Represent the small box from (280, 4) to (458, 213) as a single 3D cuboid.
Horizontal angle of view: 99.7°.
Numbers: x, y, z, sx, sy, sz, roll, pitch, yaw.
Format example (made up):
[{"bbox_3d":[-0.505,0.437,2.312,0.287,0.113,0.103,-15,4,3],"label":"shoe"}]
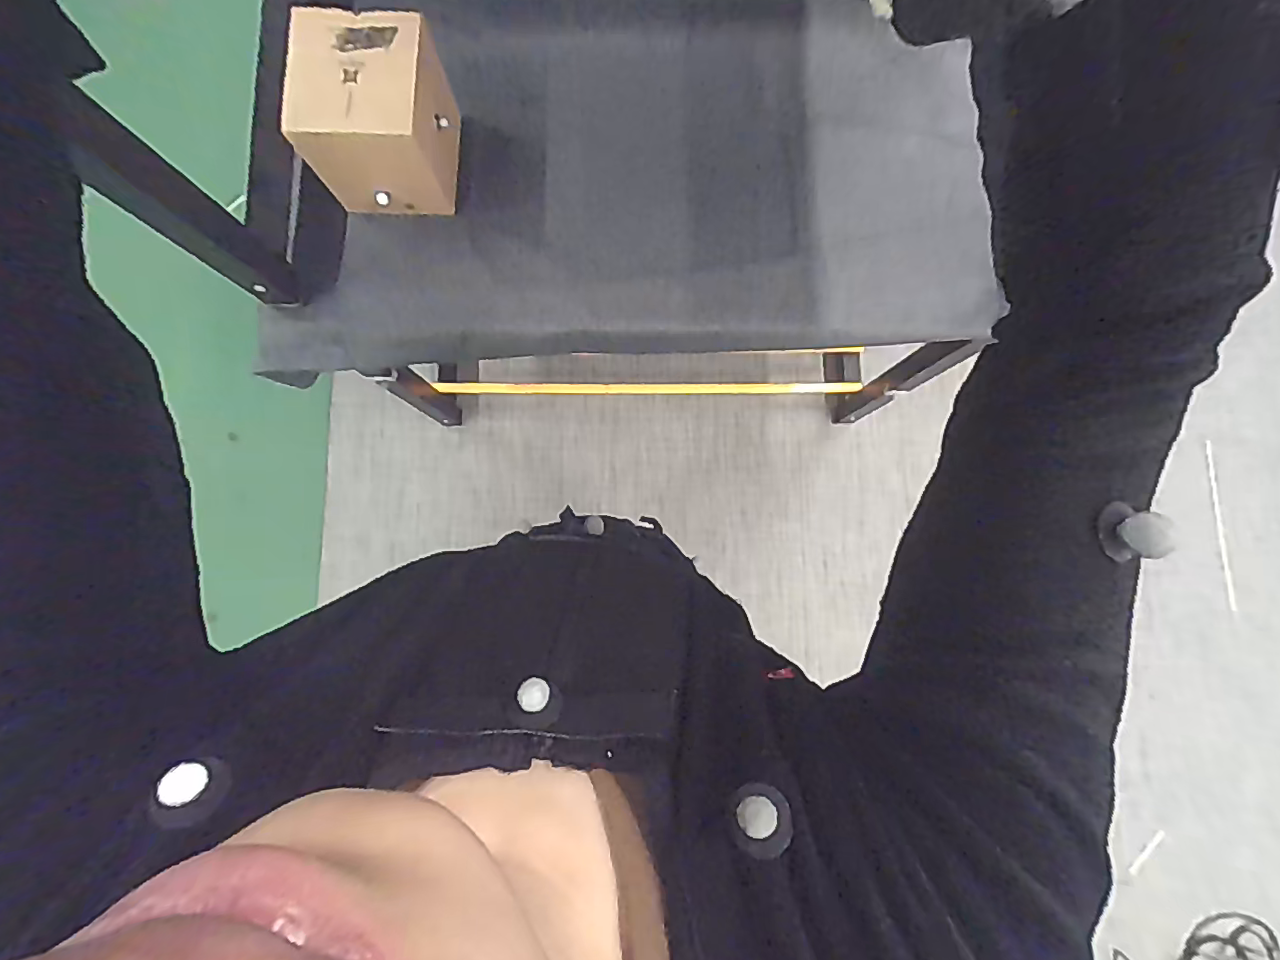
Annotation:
[{"bbox_3d":[-0.365,-0.511,0.762,0.168,0.176,0.179,1,84,-1],"label":"small box"}]
